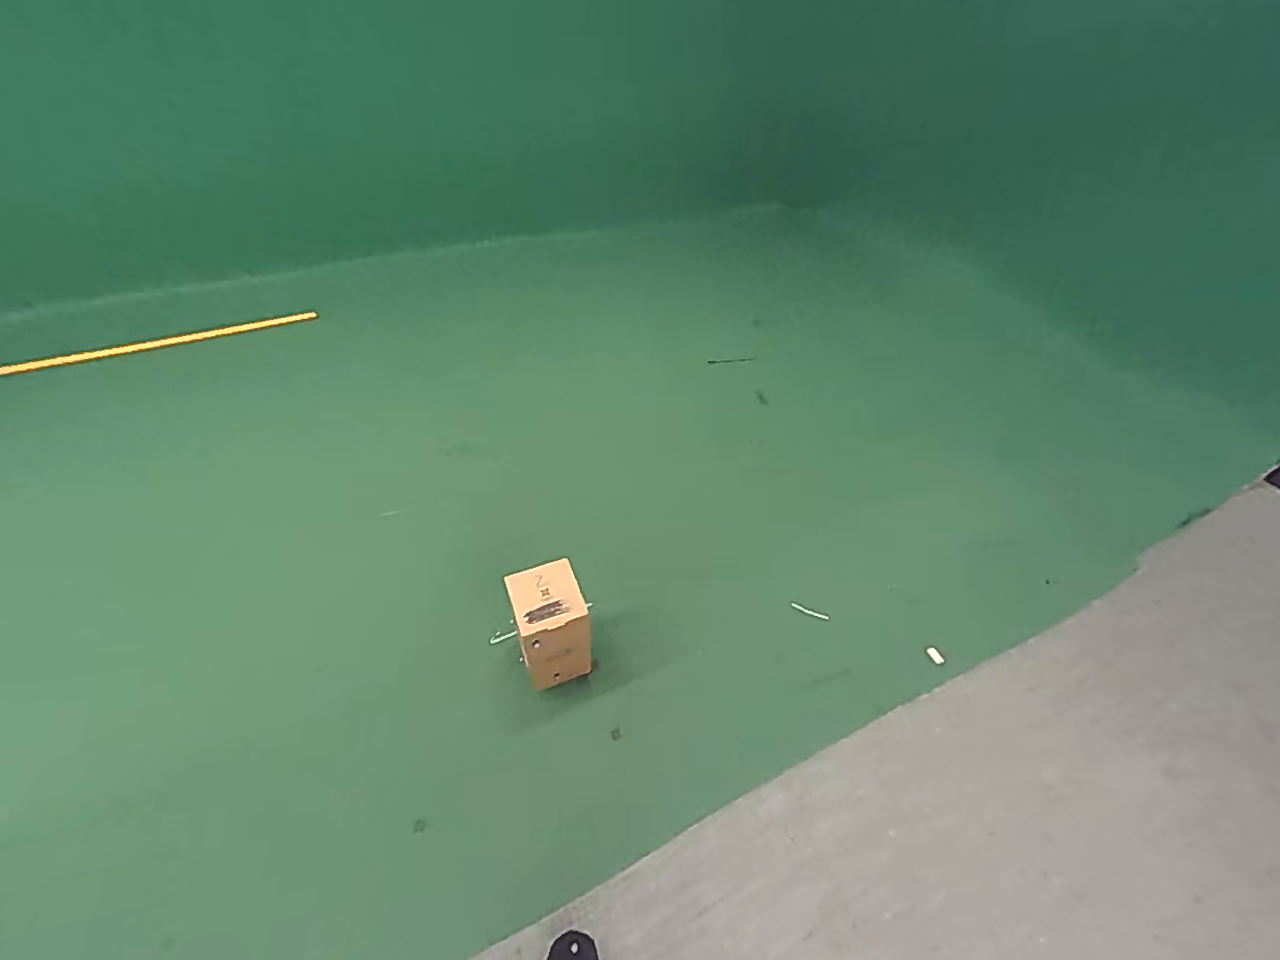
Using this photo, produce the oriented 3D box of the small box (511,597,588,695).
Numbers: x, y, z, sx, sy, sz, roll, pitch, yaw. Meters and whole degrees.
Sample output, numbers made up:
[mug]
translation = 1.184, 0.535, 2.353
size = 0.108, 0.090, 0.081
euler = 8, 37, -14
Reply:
[small box]
translation = -0.249, 0.457, 1.489
size = 0.168, 0.176, 0.179
euler = -16, 51, -18
